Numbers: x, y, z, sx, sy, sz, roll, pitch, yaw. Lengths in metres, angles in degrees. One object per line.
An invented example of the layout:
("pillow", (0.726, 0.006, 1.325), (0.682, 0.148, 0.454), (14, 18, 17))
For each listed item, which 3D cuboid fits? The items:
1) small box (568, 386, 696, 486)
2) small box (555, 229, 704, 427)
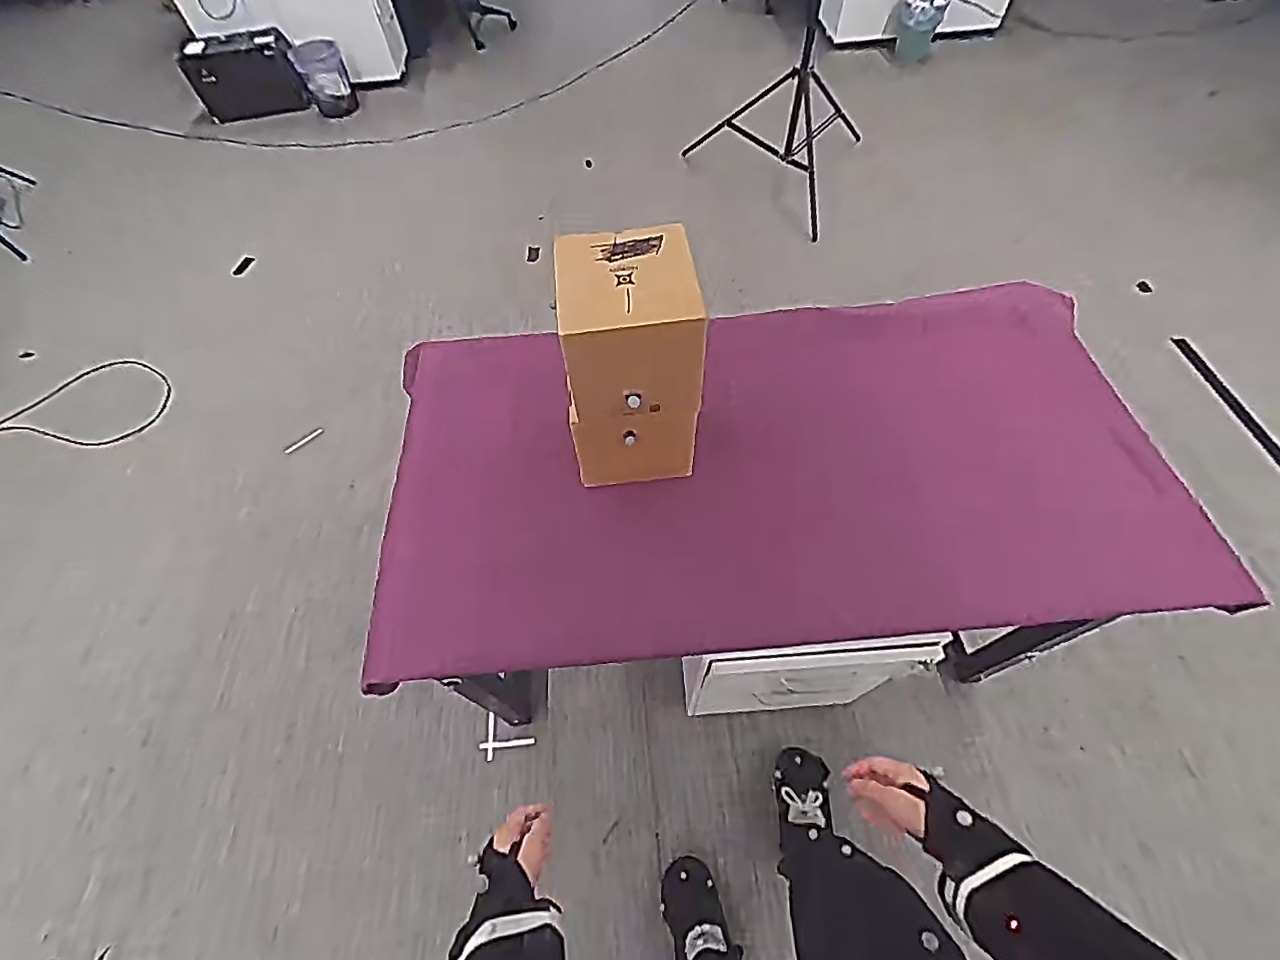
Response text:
("small box", (-0.014, -0.106, 0.842), (0.179, 0.176, 0.168), (-6, 58, -1))
("small box", (-0.016, -0.192, 0.701), (0.168, 0.176, 0.179), (-7, 59, -1))
